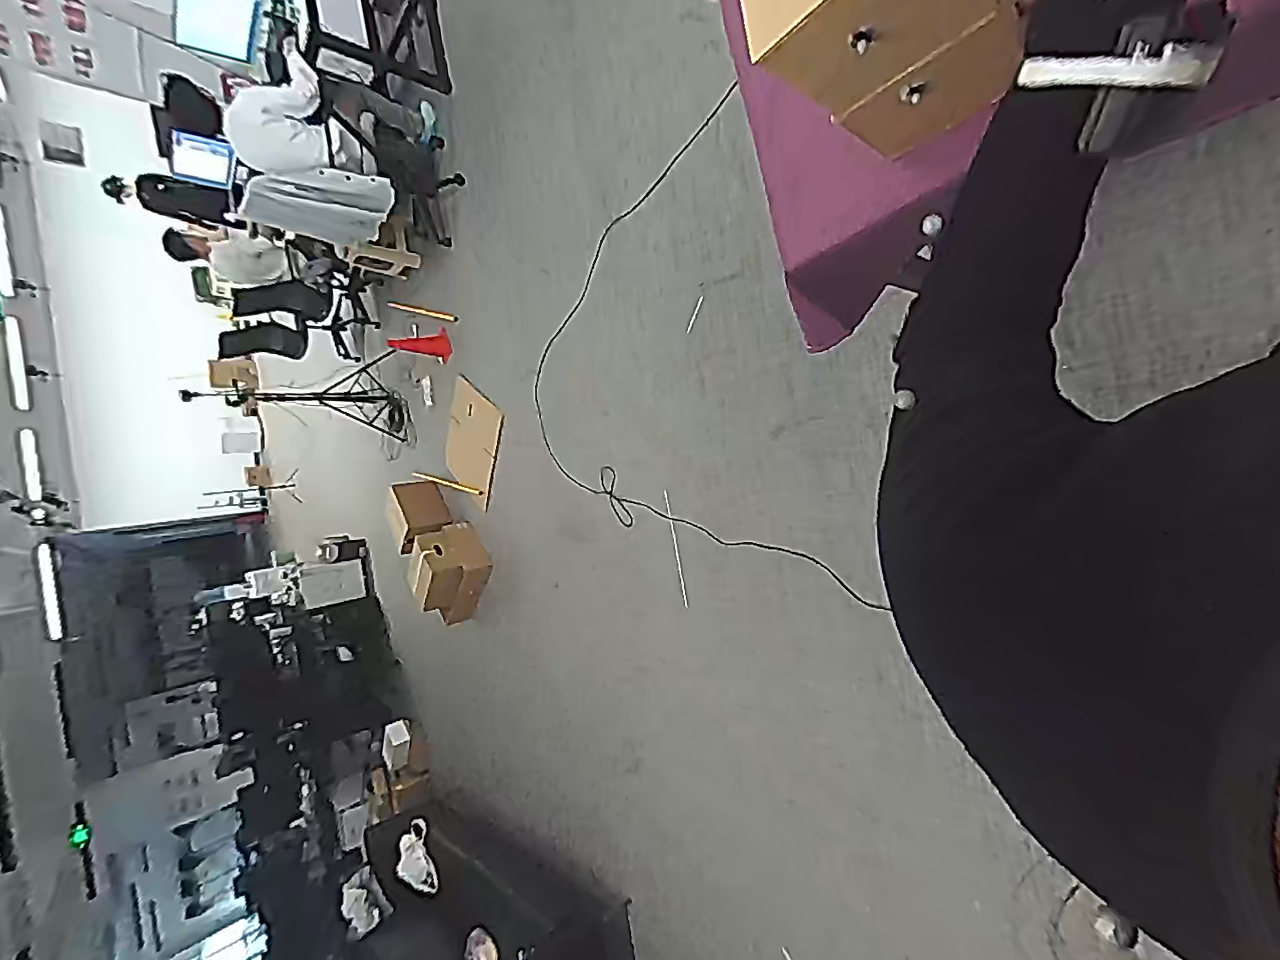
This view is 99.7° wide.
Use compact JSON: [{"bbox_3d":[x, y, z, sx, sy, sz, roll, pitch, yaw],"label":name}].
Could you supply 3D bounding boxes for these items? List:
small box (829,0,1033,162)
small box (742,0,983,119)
[{"bbox_3d":[0.337,-0.523,0.650,0.179,0.176,0.168,-11,88,47],"label":"small box"},{"bbox_3d":[0.219,-0.509,0.536,0.179,0.176,0.168,-13,87,49],"label":"small box"}]
